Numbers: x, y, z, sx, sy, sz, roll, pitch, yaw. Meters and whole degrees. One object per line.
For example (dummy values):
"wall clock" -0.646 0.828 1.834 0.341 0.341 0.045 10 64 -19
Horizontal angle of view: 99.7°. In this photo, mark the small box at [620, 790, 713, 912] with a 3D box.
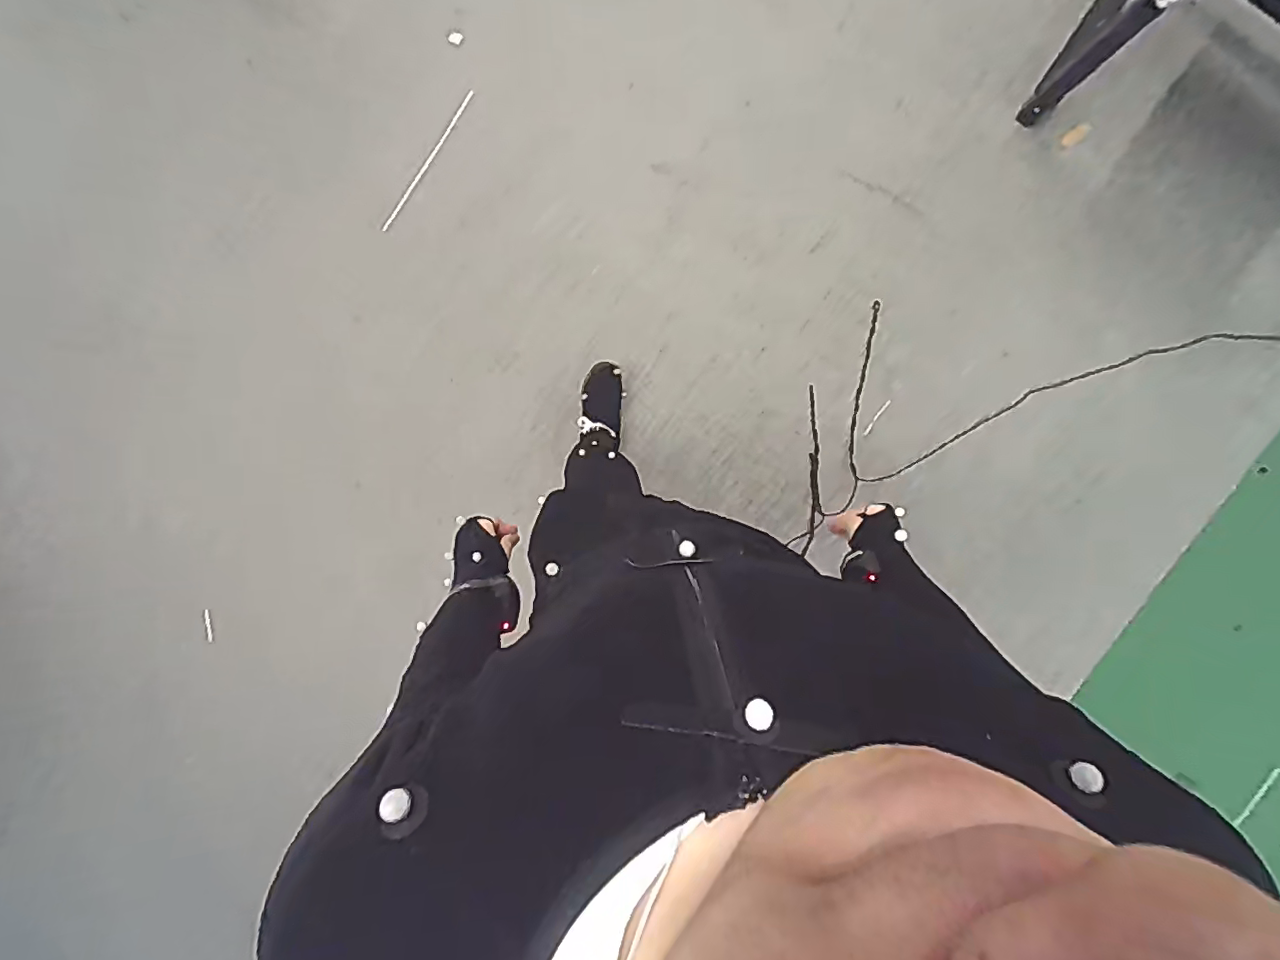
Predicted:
"small box" 0.065 0.963 1.425 0.179 0.176 0.168 37 93 -2
